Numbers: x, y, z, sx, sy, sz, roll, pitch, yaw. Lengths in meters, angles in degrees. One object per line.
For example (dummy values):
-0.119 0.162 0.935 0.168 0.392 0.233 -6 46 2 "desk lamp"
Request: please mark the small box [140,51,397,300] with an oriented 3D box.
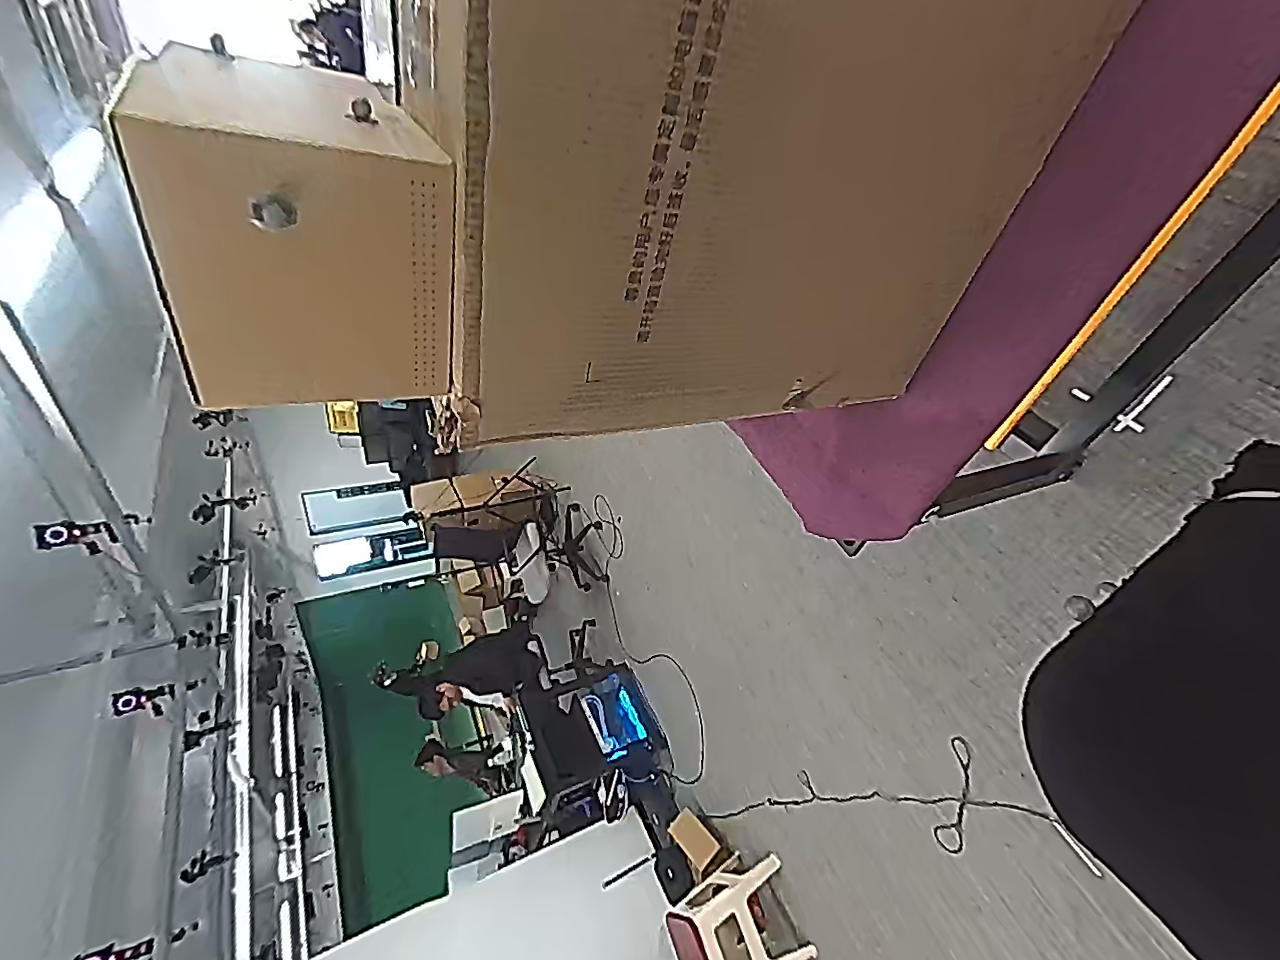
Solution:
-0.339 -0.284 0.525 0.179 0.176 0.168 56 143 38 "small box"
